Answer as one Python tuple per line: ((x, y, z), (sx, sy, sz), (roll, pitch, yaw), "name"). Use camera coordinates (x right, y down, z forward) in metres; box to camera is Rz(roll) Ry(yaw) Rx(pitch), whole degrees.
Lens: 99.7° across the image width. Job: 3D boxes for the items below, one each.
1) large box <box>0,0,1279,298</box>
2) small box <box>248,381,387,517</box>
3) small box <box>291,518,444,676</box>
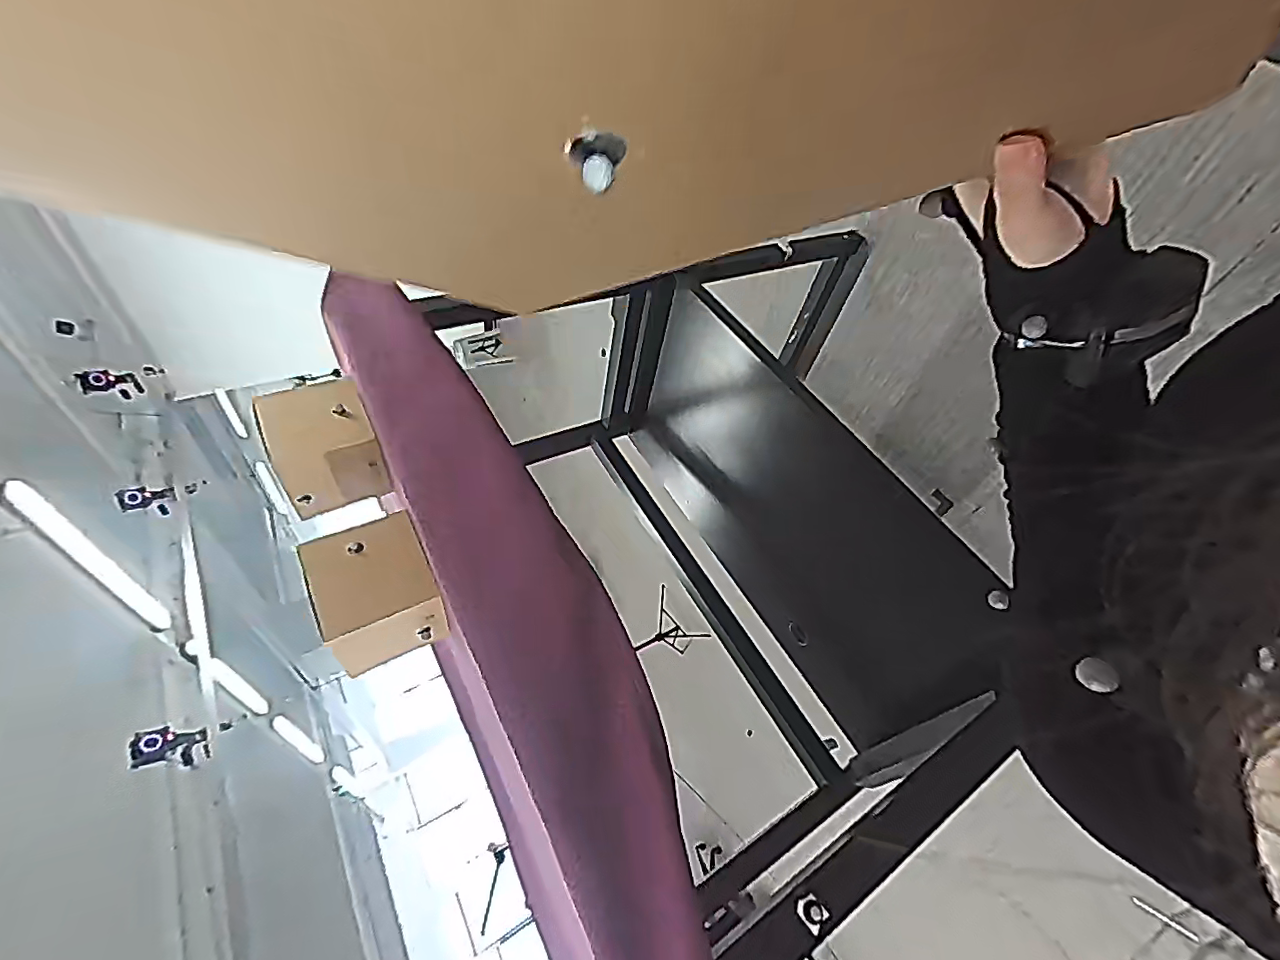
((-0.032, -0.286, 0.188), (0.408, 0.320, 0.320), (-1, 92, 37), "large box")
((-0.588, -0.065, 1.002), (0.179, 0.176, 0.168), (56, 152, 26), "small box")
((-0.432, 0.180, 0.877), (0.179, 0.176, 0.168), (56, 151, 26), "small box")
